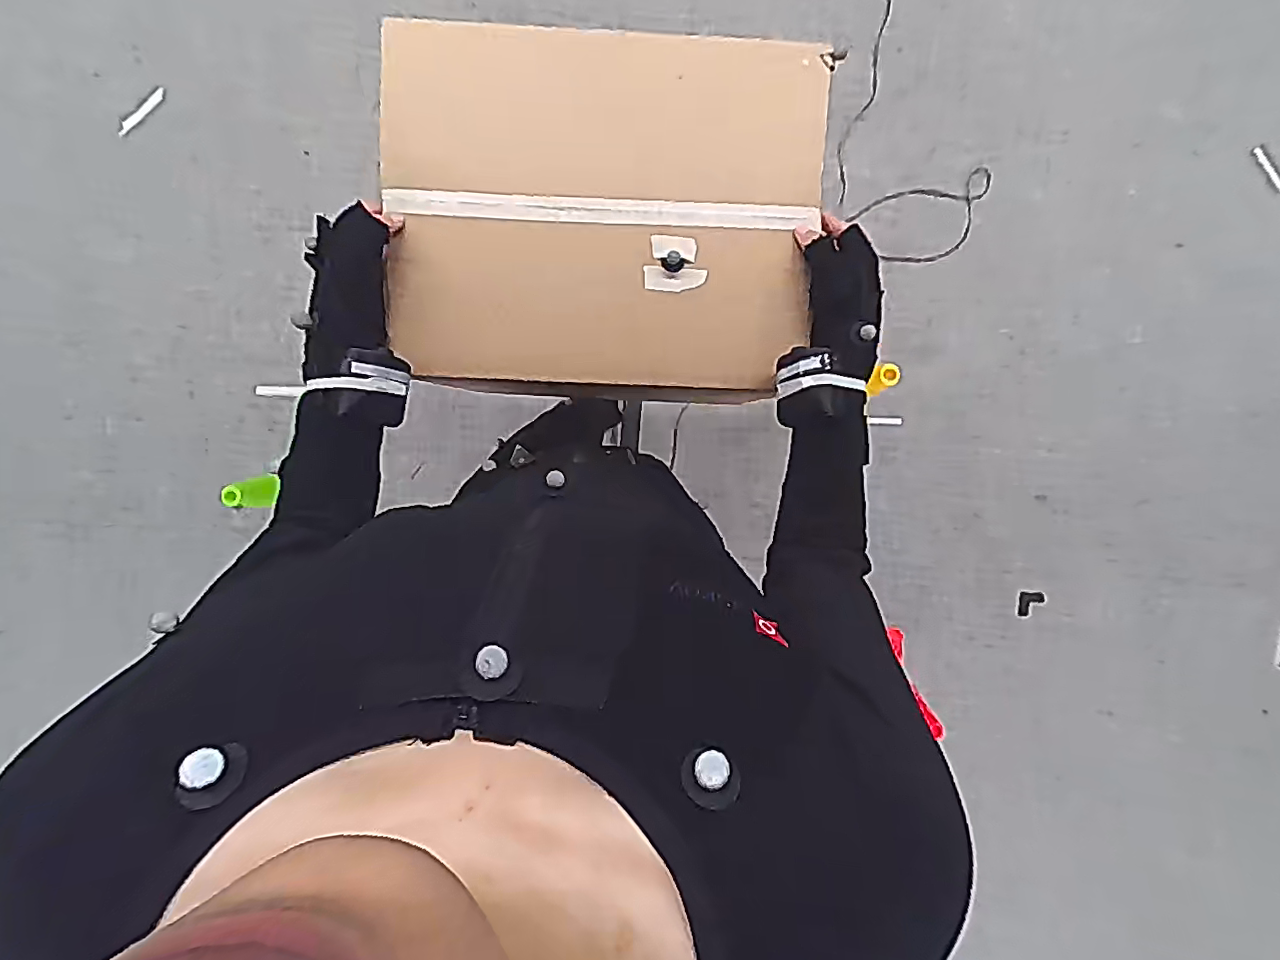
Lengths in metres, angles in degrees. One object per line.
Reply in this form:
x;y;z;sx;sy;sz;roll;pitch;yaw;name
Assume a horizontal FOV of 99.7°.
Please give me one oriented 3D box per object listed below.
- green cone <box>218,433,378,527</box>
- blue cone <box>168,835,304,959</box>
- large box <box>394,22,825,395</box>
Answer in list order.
-0.832;0.014;1.277;0.202;0.368;0.200;-34;93;4;green cone
-1.057;1.119;1.376;0.192;0.380;0.193;7;94;1;blue cone
-0.036;-0.272;0.656;0.408;0.320;0.320;2;96;-2;large box
